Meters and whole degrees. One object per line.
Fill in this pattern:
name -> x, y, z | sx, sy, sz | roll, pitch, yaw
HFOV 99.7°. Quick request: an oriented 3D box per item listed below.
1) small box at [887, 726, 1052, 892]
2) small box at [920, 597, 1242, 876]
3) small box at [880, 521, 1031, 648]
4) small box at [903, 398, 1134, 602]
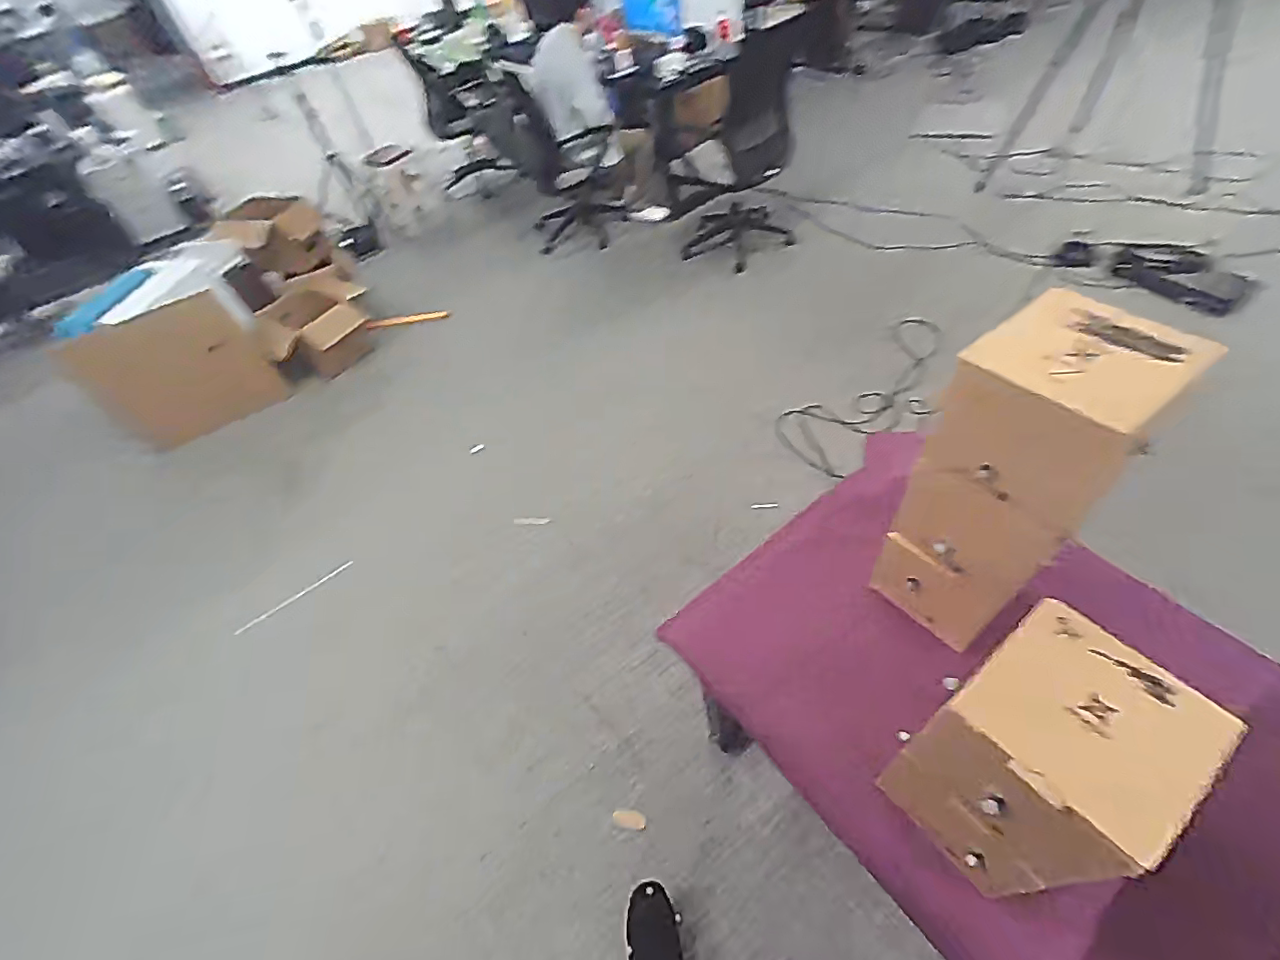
small box -> 0.433, 0.367, 0.668 | 0.179, 0.176, 0.168 | -32, 52, -18
small box -> 0.414, 0.261, 0.546 | 0.179, 0.176, 0.168 | -33, 53, -17
small box -> 0.506, 0.131, 0.857 | 0.179, 0.176, 0.168 | -34, 52, -18
small box -> 0.488, 0.028, 0.730 | 0.179, 0.176, 0.168 | -31, 51, -15
